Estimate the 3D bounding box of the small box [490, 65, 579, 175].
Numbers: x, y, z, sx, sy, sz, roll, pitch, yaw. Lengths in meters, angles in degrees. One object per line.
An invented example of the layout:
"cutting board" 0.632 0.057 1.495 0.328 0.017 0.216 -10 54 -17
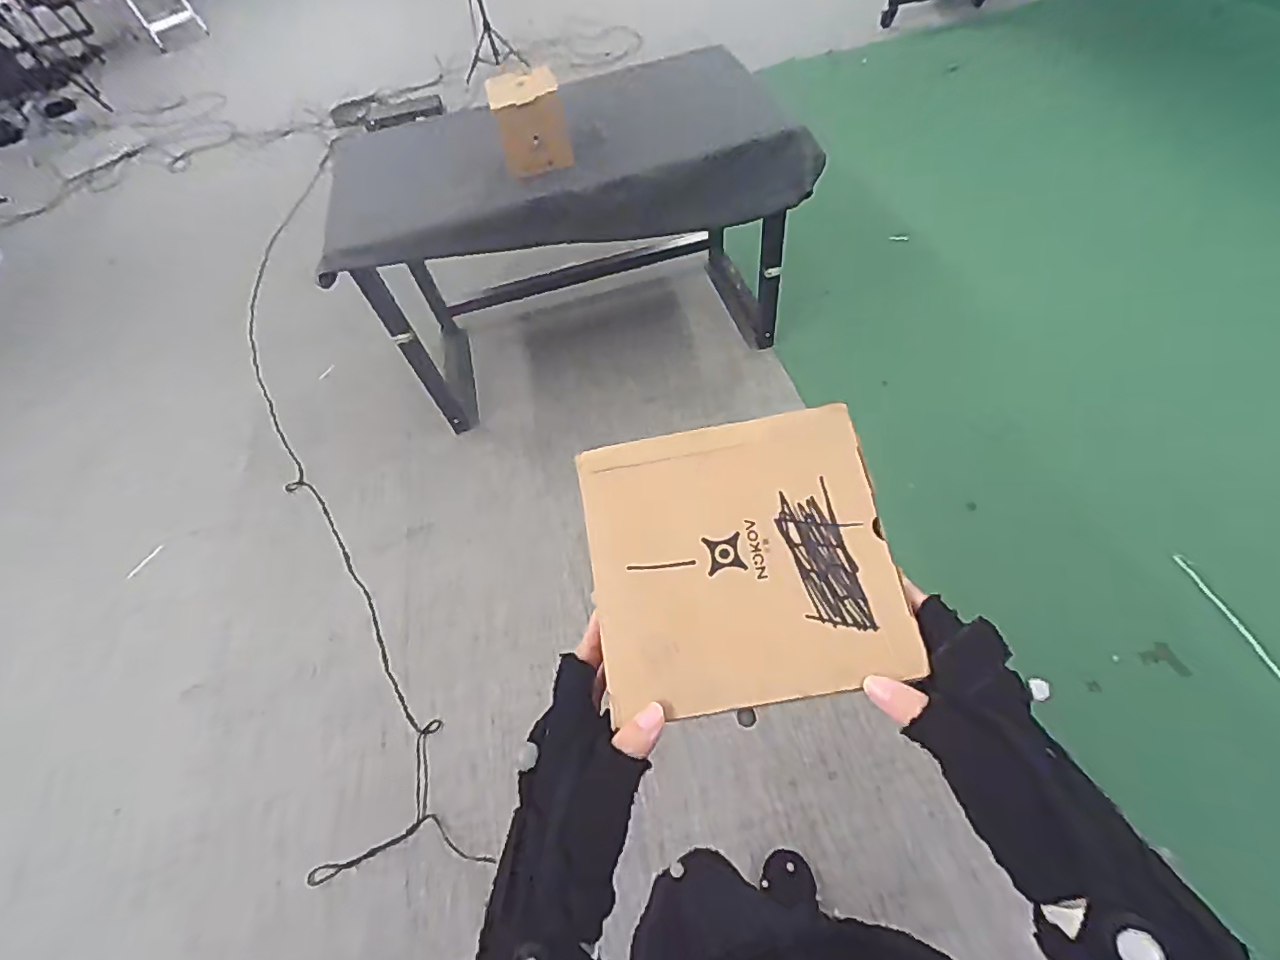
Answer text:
"small box" -0.259 -0.888 1.349 0.168 0.176 0.179 -16 56 -2
